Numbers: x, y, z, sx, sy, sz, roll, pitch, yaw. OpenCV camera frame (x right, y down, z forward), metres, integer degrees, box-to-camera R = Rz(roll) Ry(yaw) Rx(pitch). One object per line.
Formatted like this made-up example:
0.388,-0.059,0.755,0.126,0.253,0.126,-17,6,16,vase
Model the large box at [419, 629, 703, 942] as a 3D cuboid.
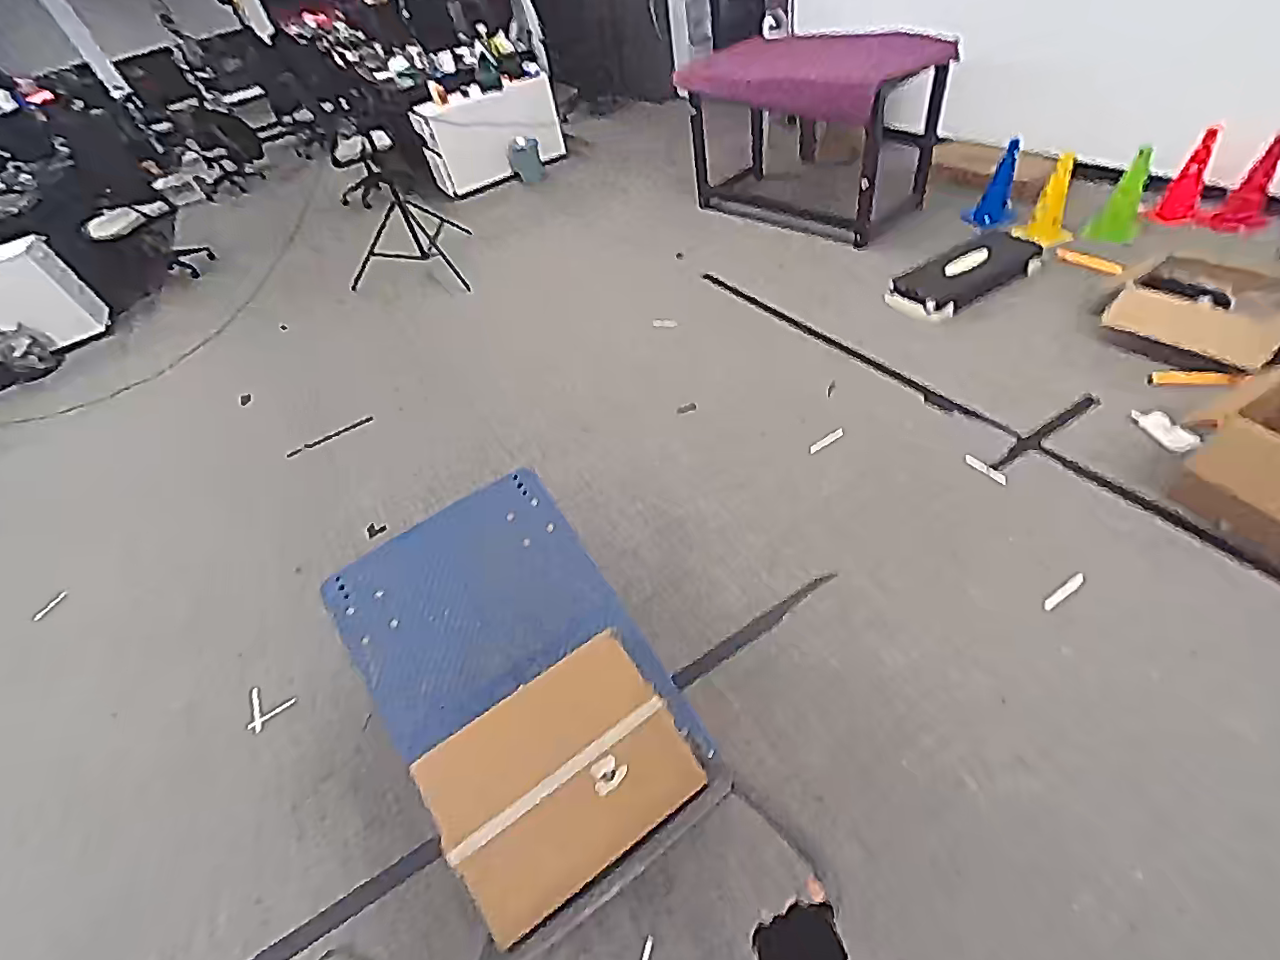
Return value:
-0.146,0.558,1.068,0.408,0.320,0.320,-32,75,-17,large box
